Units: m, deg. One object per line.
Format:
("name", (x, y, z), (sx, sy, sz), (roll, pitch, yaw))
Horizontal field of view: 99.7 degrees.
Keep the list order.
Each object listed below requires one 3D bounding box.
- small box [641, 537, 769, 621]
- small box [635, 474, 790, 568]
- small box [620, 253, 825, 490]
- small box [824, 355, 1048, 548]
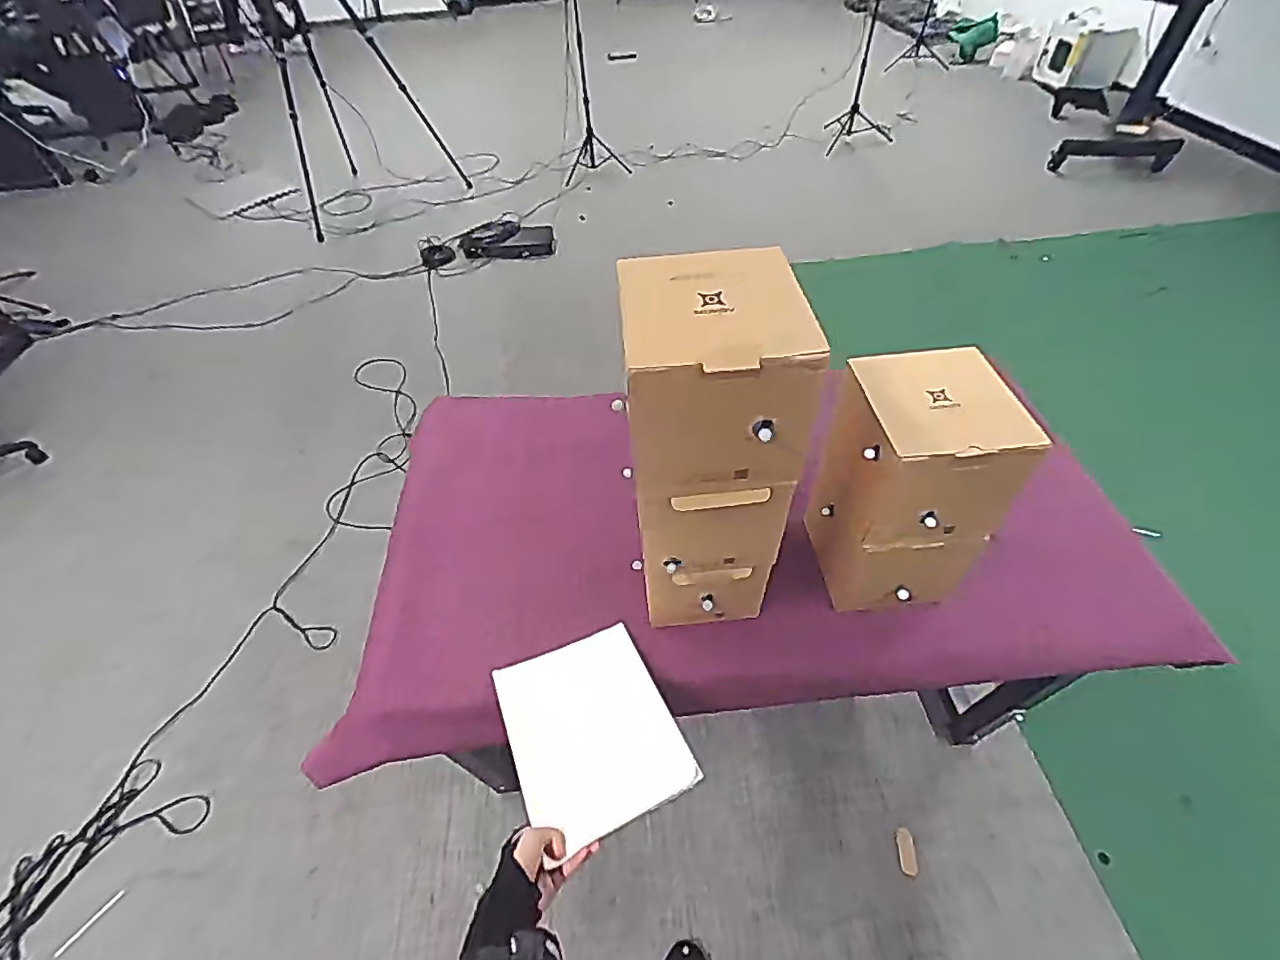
("small box", (0.087, 0.099, 0.806), (0.168, 0.176, 0.179), (-5, 51, 0))
("small box", (0.078, -0.002, 0.676), (0.168, 0.176, 0.179), (-5, 49, 0))
("small box", (0.070, -0.102, 0.548), (0.168, 0.176, 0.179), (-4, 50, 0))
("small box", (0.349, -0.035, 0.684), (0.168, 0.176, 0.179), (-5, 50, 0))
